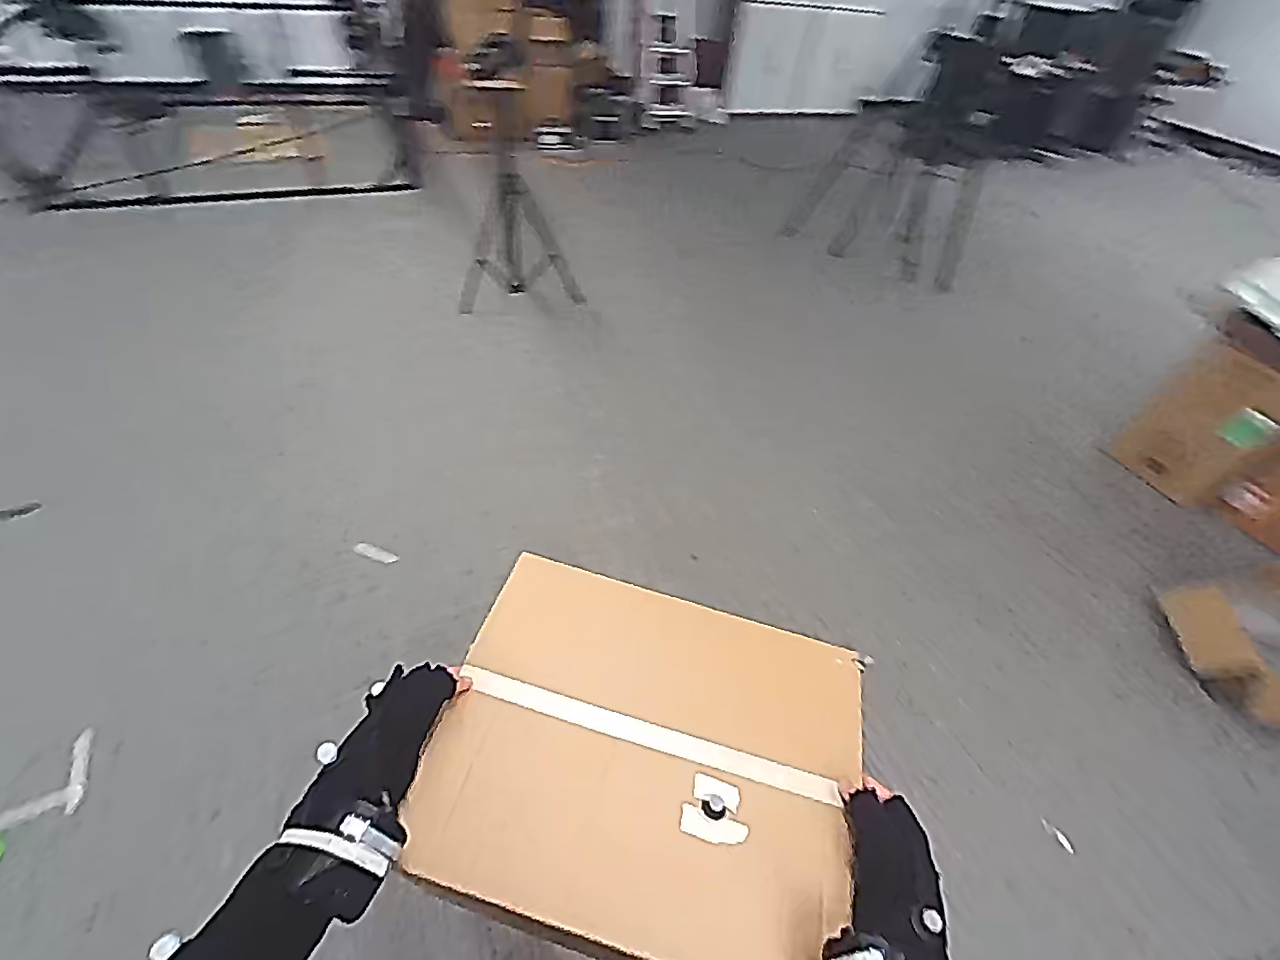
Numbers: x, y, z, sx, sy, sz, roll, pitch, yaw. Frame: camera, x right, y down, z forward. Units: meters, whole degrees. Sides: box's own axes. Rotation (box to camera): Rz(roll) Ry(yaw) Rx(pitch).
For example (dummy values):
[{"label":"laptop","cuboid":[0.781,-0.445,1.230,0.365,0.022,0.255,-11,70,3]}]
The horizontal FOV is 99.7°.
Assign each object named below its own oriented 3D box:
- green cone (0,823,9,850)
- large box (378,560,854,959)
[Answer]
[{"label":"green cone","cuboid":[-1.445,0.663,0.990,0.202,0.368,0.200,24,48,16]},{"label":"large box","cuboid":[-0.012,0.348,0.635,0.408,0.320,0.320,16,47,4]}]
